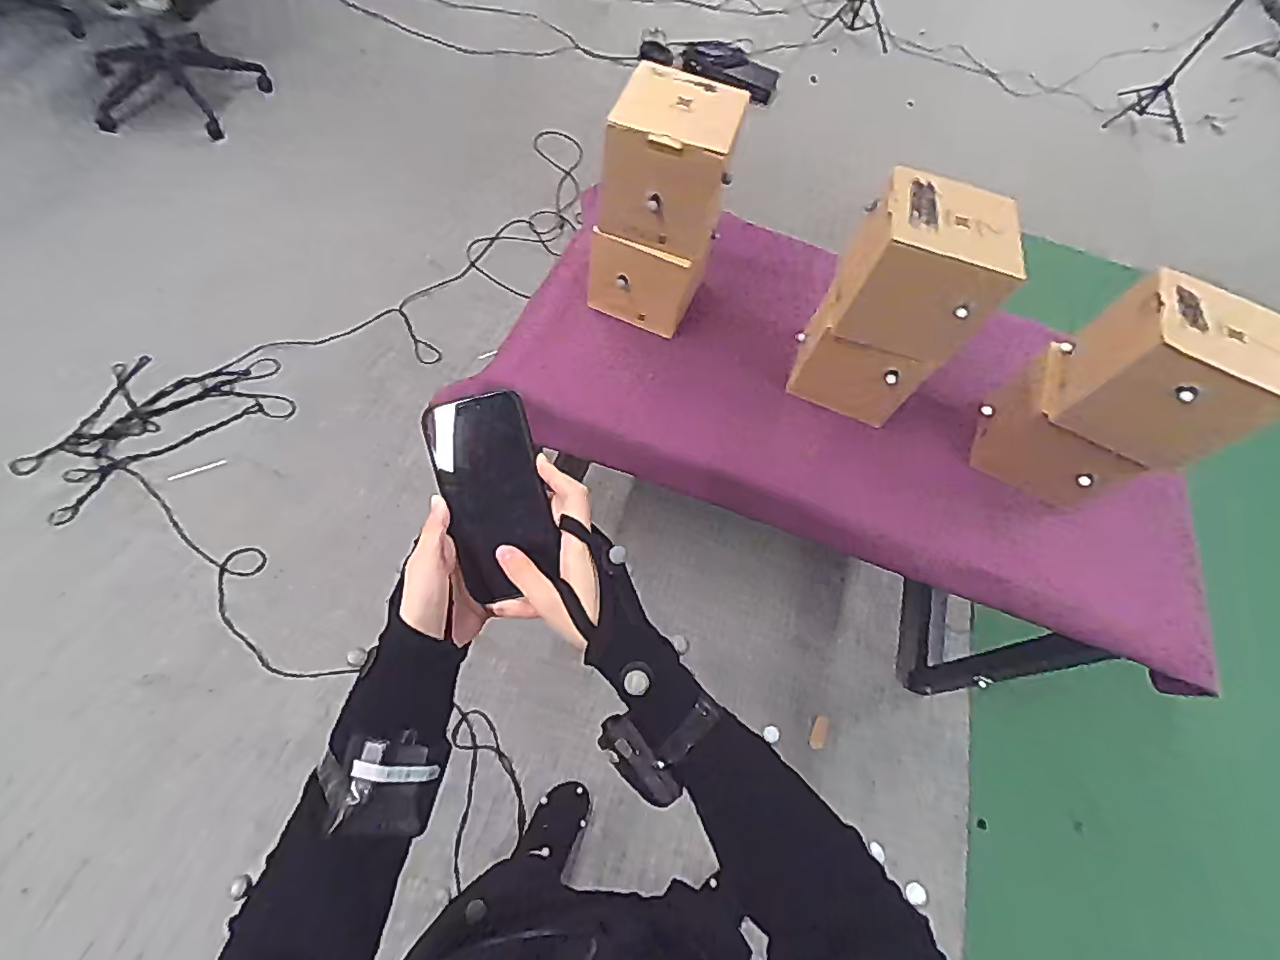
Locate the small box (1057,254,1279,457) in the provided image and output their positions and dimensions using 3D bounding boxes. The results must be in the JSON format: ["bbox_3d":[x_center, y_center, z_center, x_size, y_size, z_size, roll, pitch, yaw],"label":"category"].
[{"bbox_3d":[0.709,-0.159,0.725,0.179,0.176,0.168,27,62,6],"label":"small box"}]

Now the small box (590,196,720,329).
[{"bbox_3d":[0.022,-0.397,0.943,0.168,0.176,0.179,22,62,4],"label":"small box"}]

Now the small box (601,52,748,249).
[{"bbox_3d":[0.045,-0.480,0.803,0.168,0.176,0.179,18,62,1],"label":"small box"}]

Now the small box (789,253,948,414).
[{"bbox_3d":[0.376,-0.236,0.905,0.179,0.176,0.168,22,61,4],"label":"small box"}]

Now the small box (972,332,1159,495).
[{"bbox_3d":[0.686,-0.098,0.876,0.179,0.176,0.168,27,62,7],"label":"small box"}]
